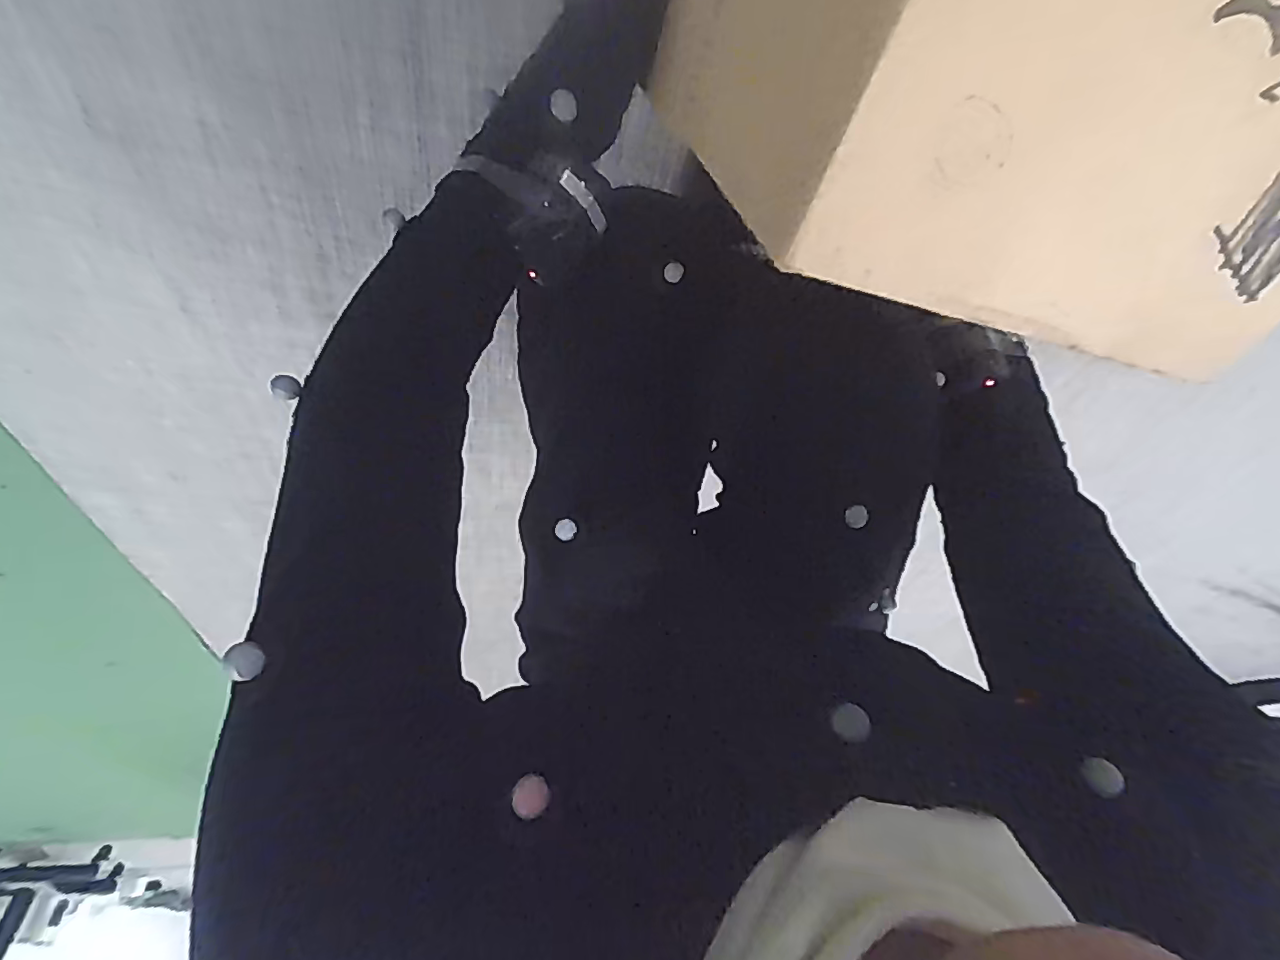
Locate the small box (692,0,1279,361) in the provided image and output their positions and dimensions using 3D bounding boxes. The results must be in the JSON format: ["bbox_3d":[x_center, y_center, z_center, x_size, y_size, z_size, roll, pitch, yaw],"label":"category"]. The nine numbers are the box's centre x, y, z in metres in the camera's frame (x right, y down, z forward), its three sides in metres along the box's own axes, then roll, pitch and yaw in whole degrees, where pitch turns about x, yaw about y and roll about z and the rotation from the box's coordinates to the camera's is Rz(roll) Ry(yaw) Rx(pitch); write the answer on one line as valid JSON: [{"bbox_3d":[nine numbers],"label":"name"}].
[{"bbox_3d":[0.135,-0.163,0.178,0.179,0.176,0.168,4,133,-15],"label":"small box"}]

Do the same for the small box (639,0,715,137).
[{"bbox_3d":[0.111,-0.272,0.294,0.179,0.176,0.168,5,129,-16],"label":"small box"}]
